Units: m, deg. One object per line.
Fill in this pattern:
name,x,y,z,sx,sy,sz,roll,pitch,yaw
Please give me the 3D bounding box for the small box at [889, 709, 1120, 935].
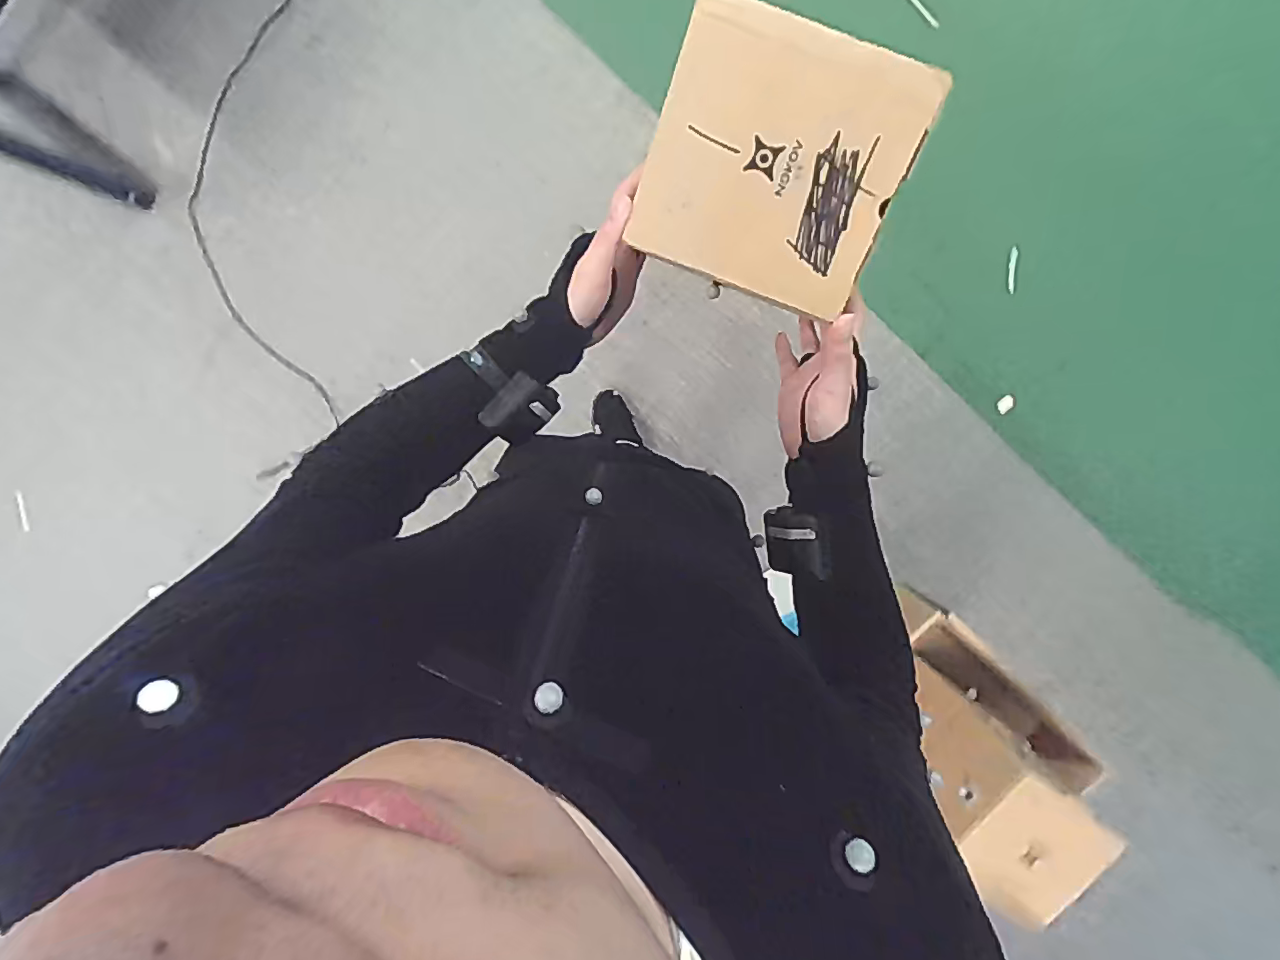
small box,0.496,0.469,0.769,0.168,0.176,0.179,38,98,-4
